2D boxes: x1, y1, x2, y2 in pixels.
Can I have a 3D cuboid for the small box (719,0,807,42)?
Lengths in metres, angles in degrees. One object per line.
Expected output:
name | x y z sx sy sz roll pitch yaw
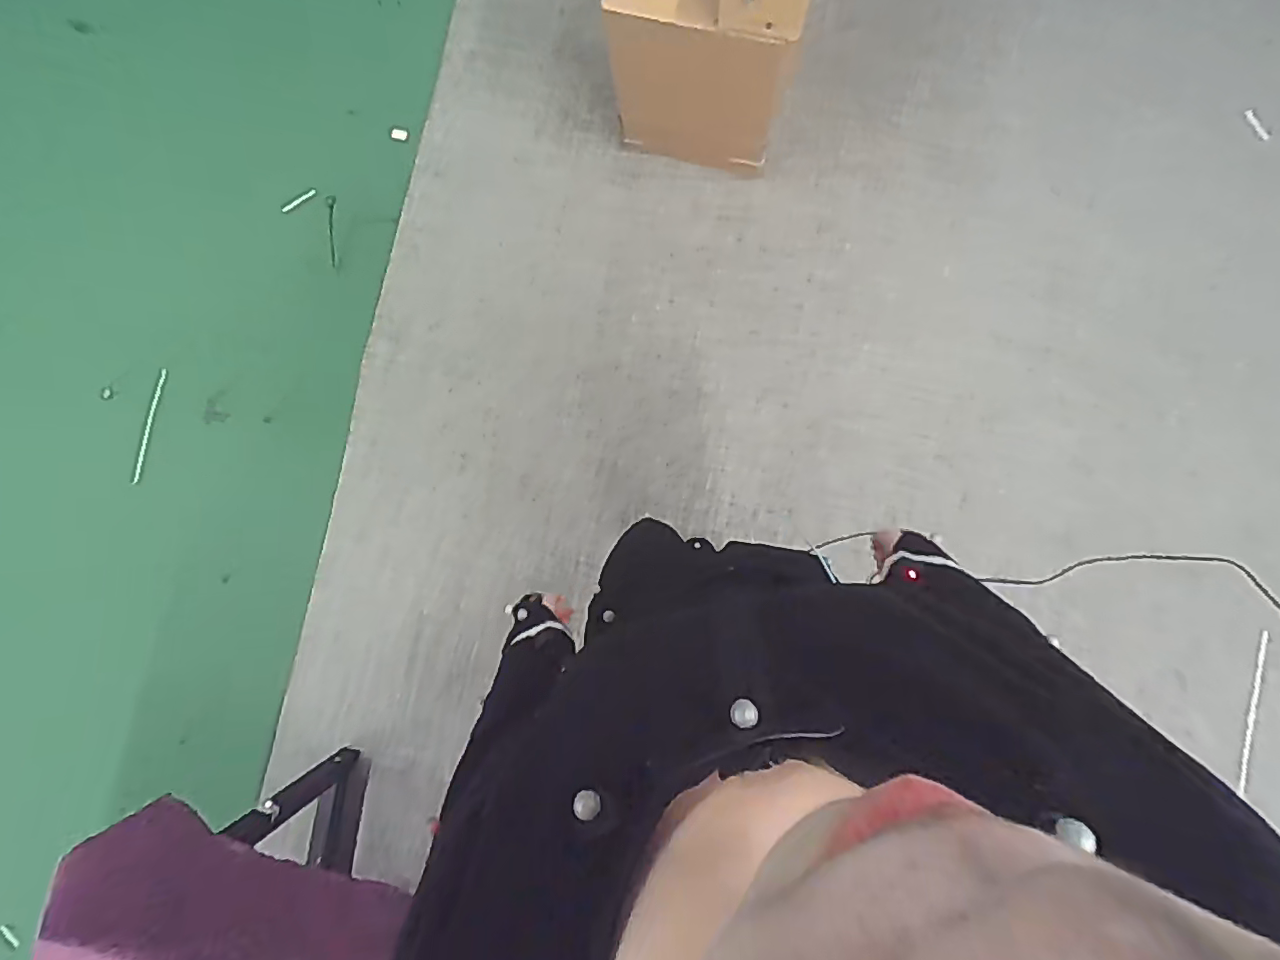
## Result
small box | 0.249 -0.986 1.025 0.168 0.176 0.179 14 88 6
